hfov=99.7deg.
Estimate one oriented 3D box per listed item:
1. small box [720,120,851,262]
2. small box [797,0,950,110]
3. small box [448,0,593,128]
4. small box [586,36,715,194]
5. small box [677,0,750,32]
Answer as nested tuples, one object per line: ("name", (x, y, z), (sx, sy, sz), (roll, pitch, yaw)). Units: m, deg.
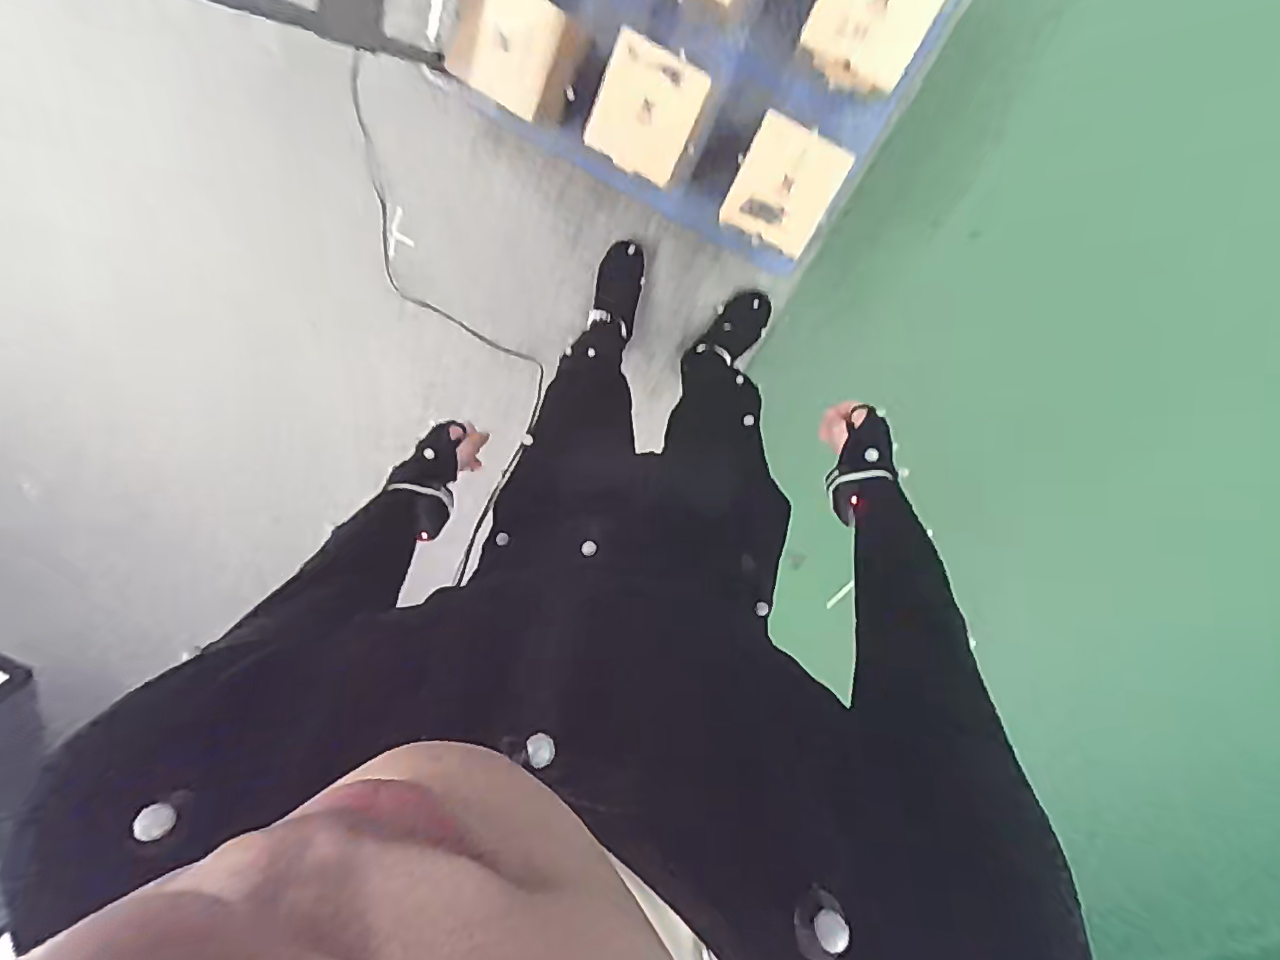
("small box", (0.268, -0.541, 1.021), (0.168, 0.176, 0.179), (27, 120, -4))
("small box", (0.369, -0.735, 0.869), (0.168, 0.176, 0.179), (28, 120, -4))
("small box", (-0.209, -0.763, 0.976), (0.179, 0.176, 0.168), (29, 121, -7))
("small box", (0.027, -0.654, 0.988), (0.168, 0.176, 0.179), (28, 121, -5))
("small box", (0.122, -0.862, 0.854), (0.168, 0.176, 0.179), (28, 122, -5))
